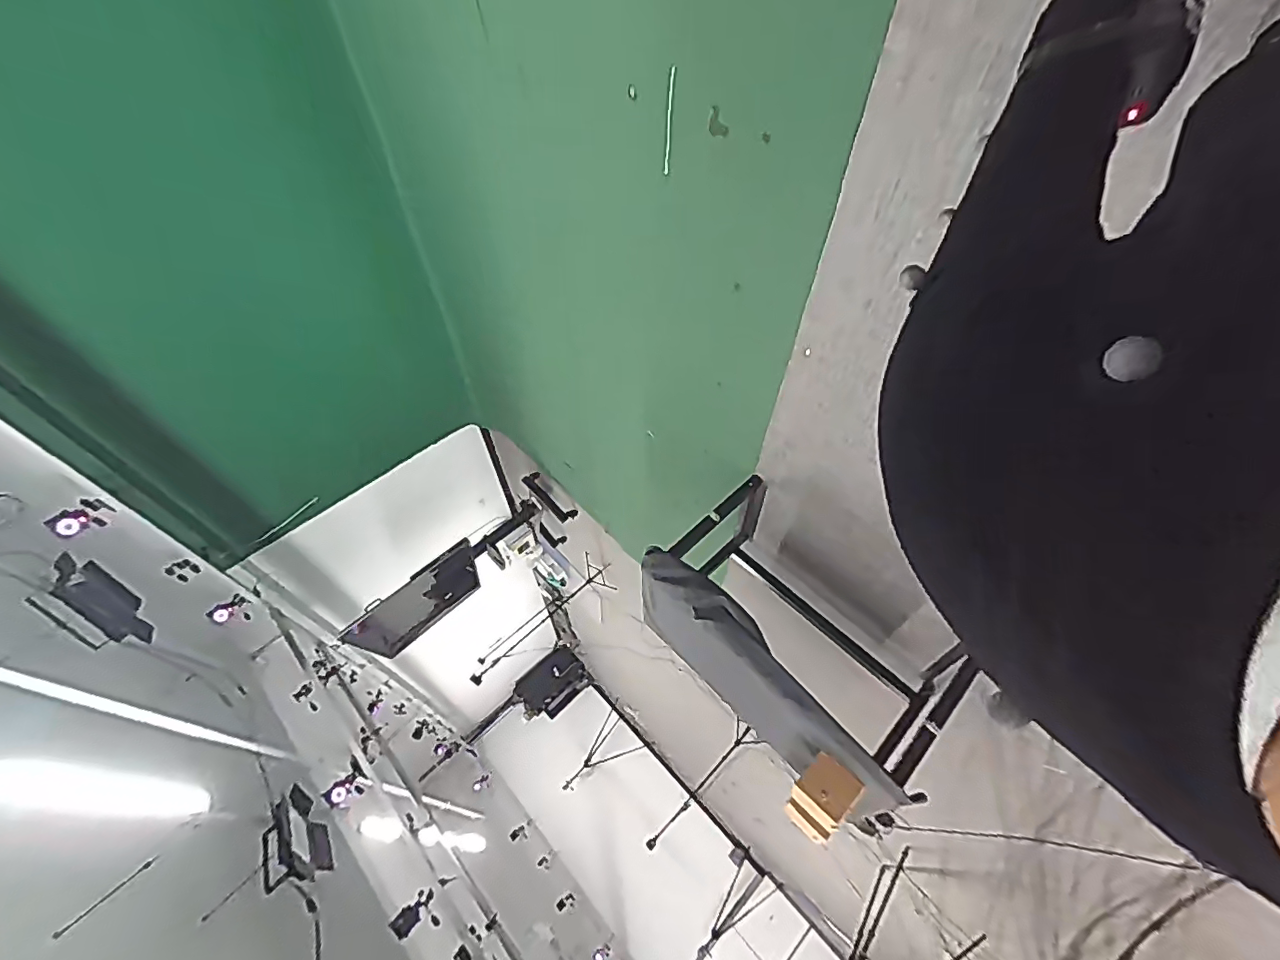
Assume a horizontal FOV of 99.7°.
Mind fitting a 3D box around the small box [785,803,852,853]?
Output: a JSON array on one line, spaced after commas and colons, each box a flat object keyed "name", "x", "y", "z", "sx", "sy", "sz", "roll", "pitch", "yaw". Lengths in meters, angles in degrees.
[{"name": "small box", "x": 0.705, "y": 1.316, "z": 2.122, "sx": 0.179, "sy": 0.176, "sz": 0.168, "roll": 40, "pitch": 153, "yaw": 27}]

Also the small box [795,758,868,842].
[{"name": "small box", "x": 0.679, "y": 1.132, "z": 1.917, "sx": 0.179, "sy": 0.176, "sz": 0.168, "roll": 36, "pitch": 151, "yaw": 36}]
